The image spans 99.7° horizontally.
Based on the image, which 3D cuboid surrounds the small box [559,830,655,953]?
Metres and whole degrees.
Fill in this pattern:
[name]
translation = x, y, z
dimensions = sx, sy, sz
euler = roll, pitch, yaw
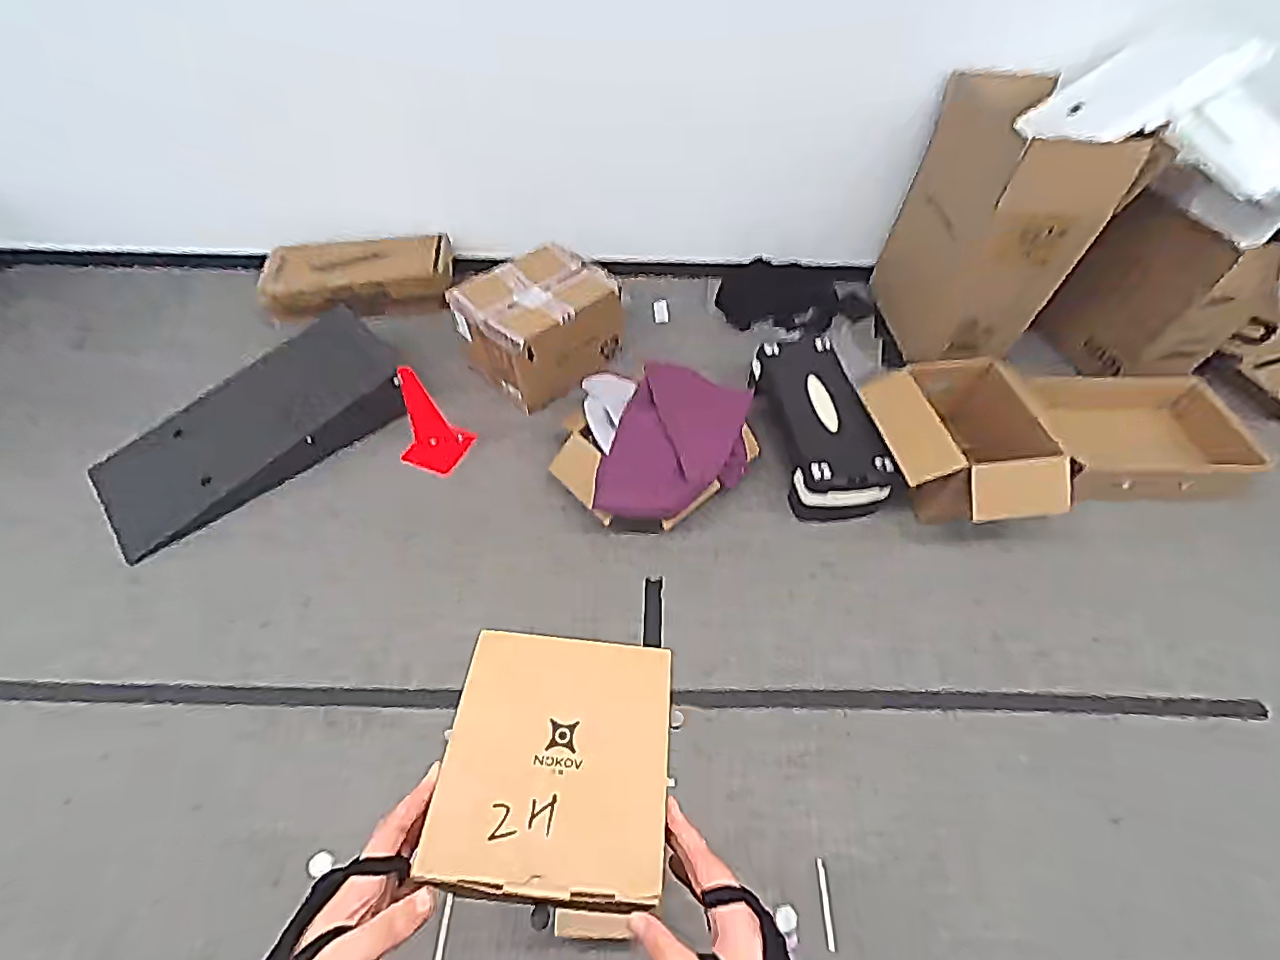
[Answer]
[small box]
translation = -0.057, 0.777, 1.028
dimensions = 0.168, 0.176, 0.179
euler = 0, 54, 0
